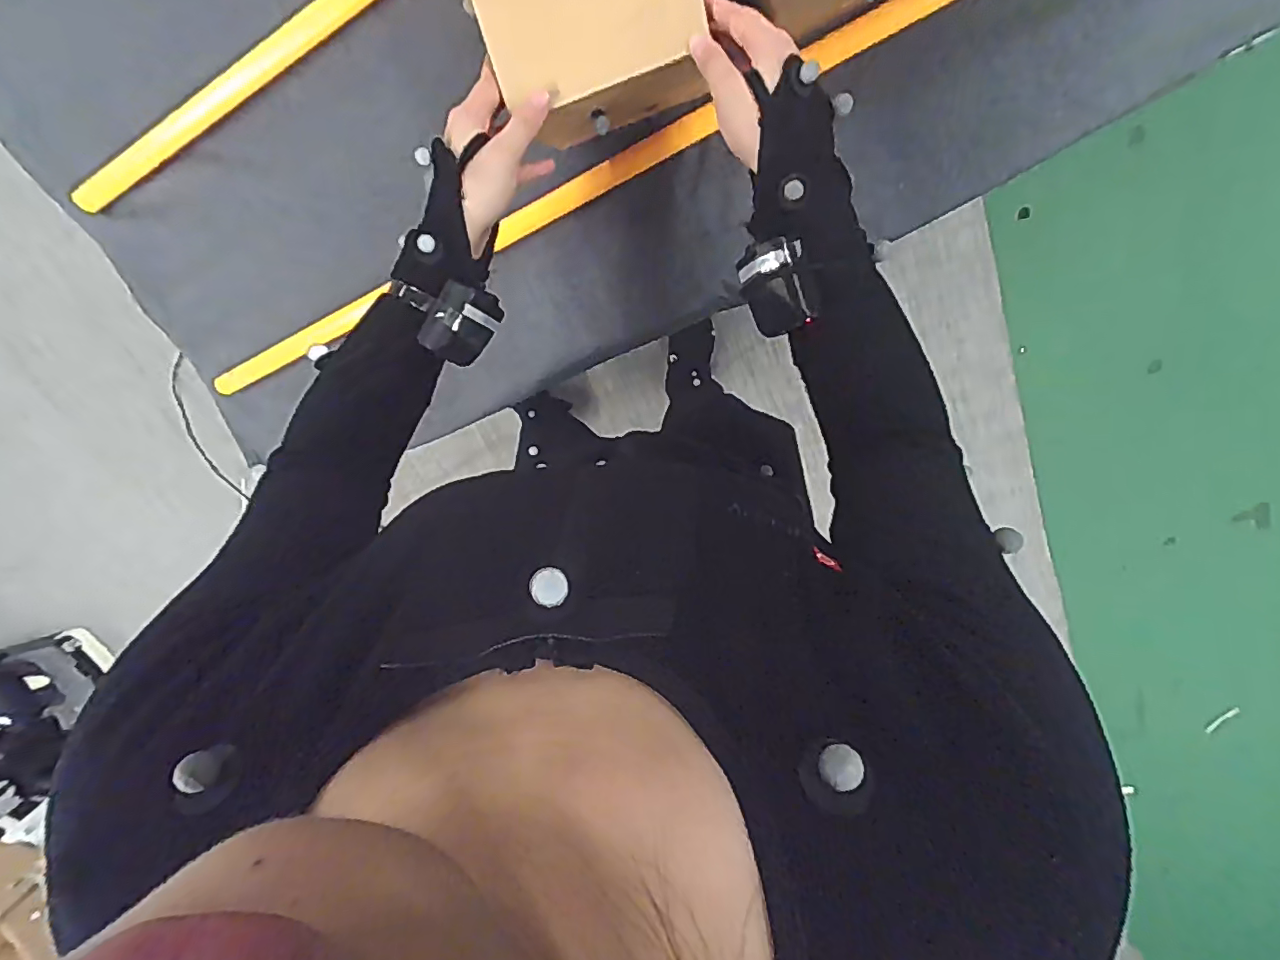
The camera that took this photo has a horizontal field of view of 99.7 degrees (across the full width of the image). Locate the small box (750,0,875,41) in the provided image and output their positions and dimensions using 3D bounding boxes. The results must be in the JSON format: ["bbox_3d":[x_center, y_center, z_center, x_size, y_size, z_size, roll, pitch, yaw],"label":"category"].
[{"bbox_3d":[0.152,-0.464,0.395,0.168,0.176,0.179,-16,112,17],"label":"small box"}]
